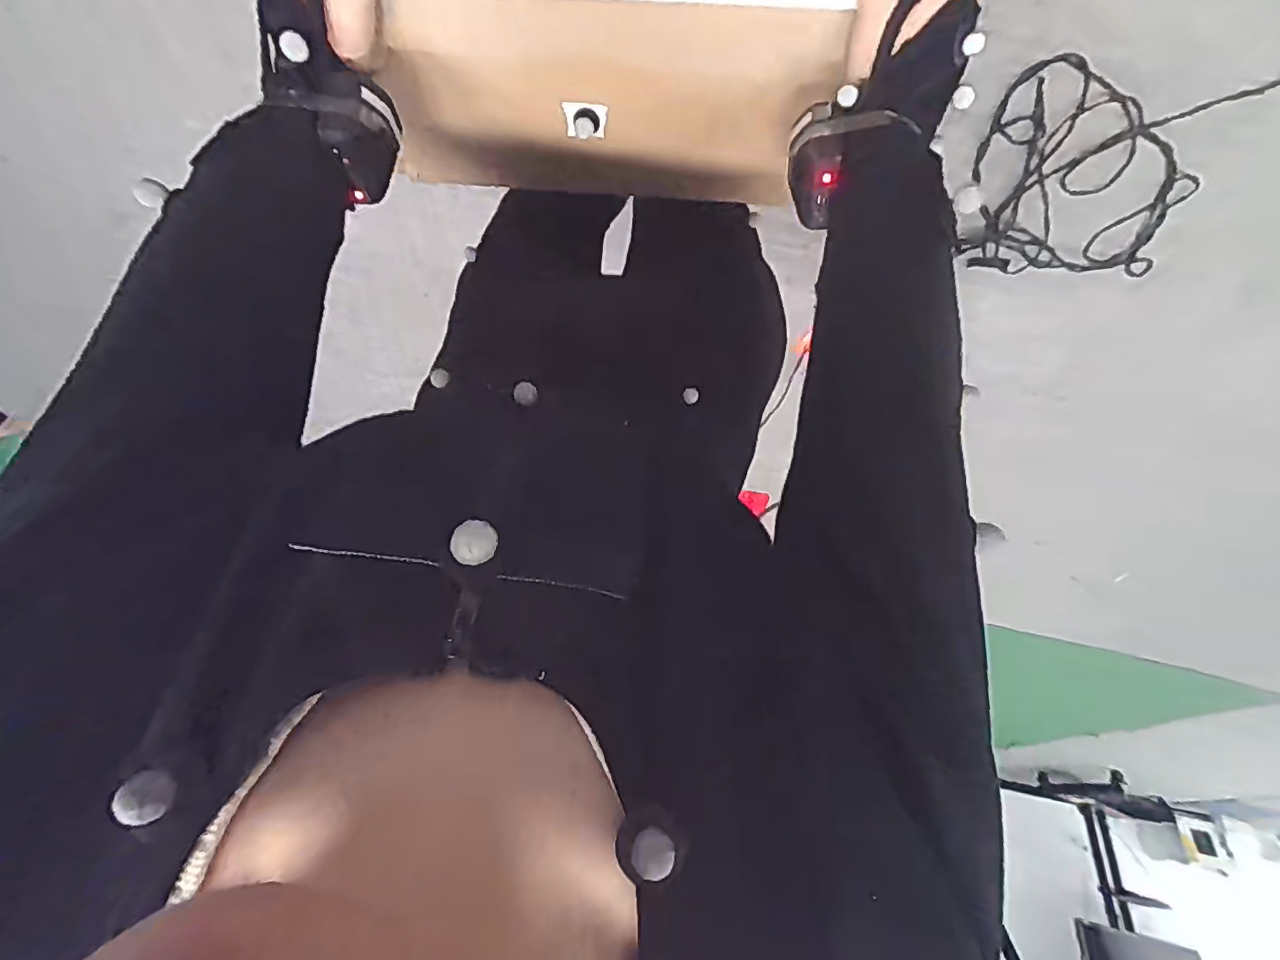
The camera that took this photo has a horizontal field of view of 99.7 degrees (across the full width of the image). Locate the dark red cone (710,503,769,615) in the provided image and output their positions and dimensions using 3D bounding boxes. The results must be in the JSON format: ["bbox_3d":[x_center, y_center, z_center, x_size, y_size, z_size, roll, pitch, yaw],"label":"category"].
[{"bbox_3d":[0.331,0.277,1.892,0.202,0.394,0.201,8,149,8],"label":"dark red cone"}]

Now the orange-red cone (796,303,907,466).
[{"bbox_3d":[0.473,-0.183,1.209,0.199,0.360,0.198,23,146,-16],"label":"orange-red cone"}]

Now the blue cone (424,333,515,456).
[{"bbox_3d":[-0.504,-0.222,1.527,0.192,0.380,0.193,13,146,2],"label":"blue cone"}]
